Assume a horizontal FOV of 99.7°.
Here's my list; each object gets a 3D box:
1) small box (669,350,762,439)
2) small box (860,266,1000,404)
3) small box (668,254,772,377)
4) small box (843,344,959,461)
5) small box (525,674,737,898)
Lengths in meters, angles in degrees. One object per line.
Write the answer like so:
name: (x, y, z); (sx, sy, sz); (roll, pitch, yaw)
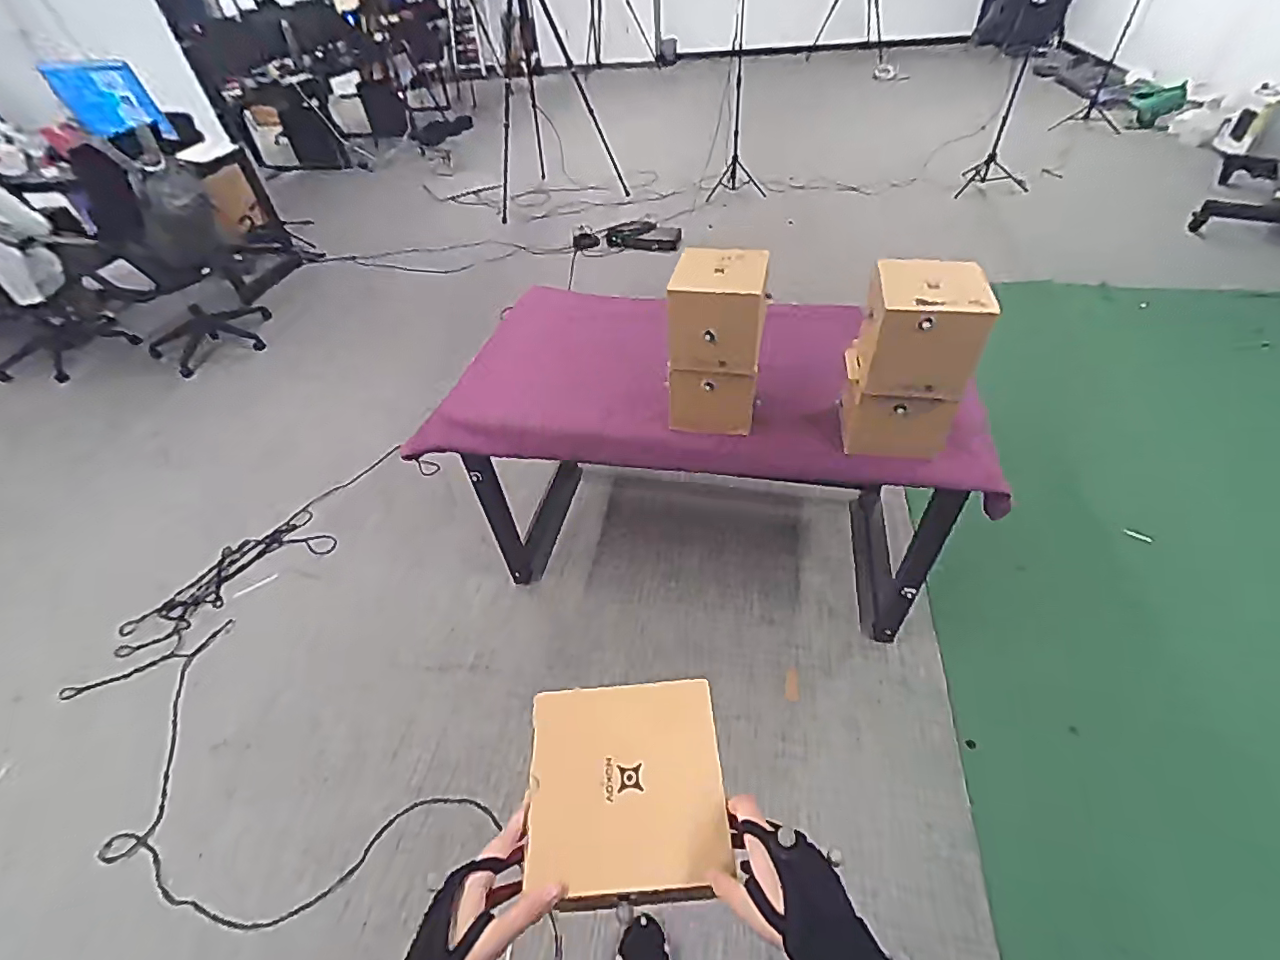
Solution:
small box: (0.164, -0.205, 1.163); (0.179, 0.176, 0.168); (6, 46, 12)
small box: (0.489, -0.255, 0.943); (0.168, 0.176, 0.179); (5, 46, 13)
small box: (0.157, -0.316, 1.042); (0.168, 0.176, 0.179); (8, 47, 14)
small box: (0.508, -0.152, 1.071); (0.179, 0.176, 0.168); (4, 47, 10)
small box: (-0.005, 0.313, 0.549); (0.179, 0.176, 0.168); (-7, 49, 2)
